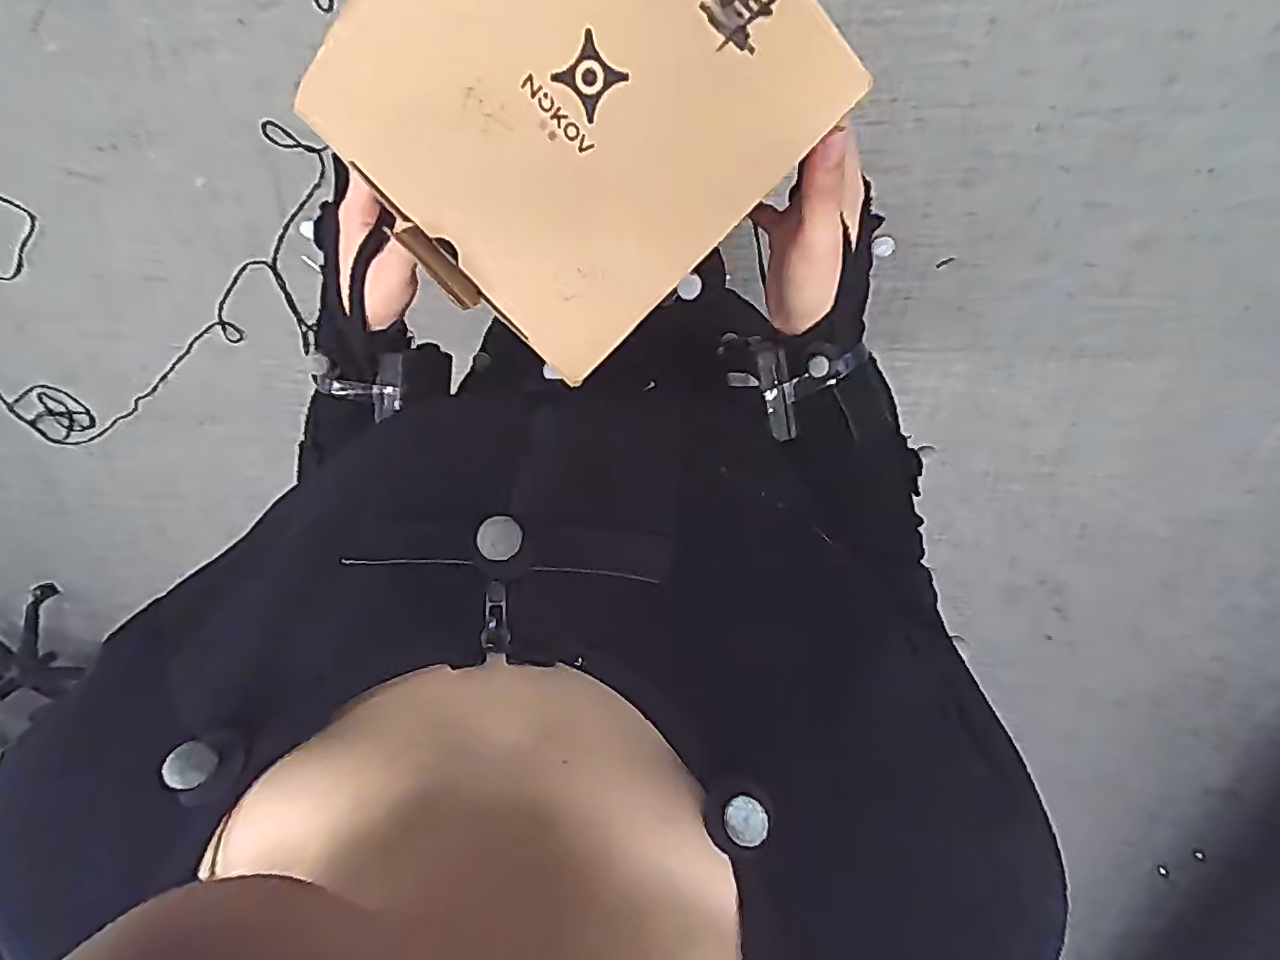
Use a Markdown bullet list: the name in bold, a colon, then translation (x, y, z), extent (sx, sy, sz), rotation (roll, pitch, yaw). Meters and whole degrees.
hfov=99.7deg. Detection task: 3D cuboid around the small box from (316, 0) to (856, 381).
- **small box**: translation (-0.021, -0.185, 0.301), extent (0.179, 0.176, 0.168), rotation (-42, 104, 17)
